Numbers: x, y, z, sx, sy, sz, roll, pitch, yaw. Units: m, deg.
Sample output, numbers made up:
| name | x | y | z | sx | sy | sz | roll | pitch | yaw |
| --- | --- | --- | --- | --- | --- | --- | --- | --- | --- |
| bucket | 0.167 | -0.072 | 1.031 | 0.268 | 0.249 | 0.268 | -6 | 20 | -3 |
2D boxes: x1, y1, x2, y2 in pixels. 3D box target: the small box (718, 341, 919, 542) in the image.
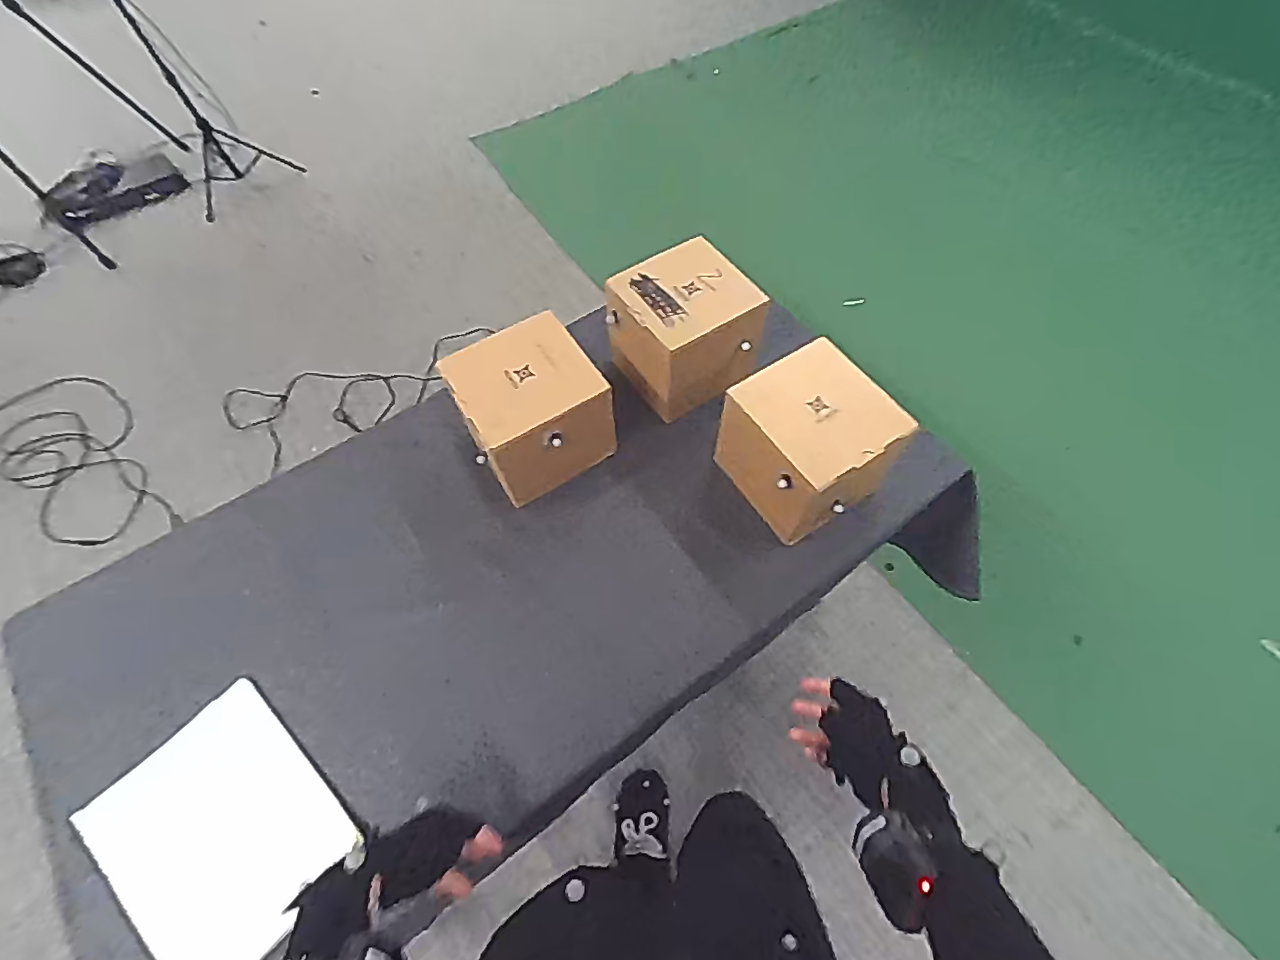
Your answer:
| name | x | y | z | sx | sy | sz | roll | pitch | yaw |
| --- | --- | --- | --- | --- | --- | --- | --- | --- | --- |
| small box | 0.224 | -0.047 | 0.735 | 0.168 | 0.176 | 0.179 | -29 | 65 | -15 |
